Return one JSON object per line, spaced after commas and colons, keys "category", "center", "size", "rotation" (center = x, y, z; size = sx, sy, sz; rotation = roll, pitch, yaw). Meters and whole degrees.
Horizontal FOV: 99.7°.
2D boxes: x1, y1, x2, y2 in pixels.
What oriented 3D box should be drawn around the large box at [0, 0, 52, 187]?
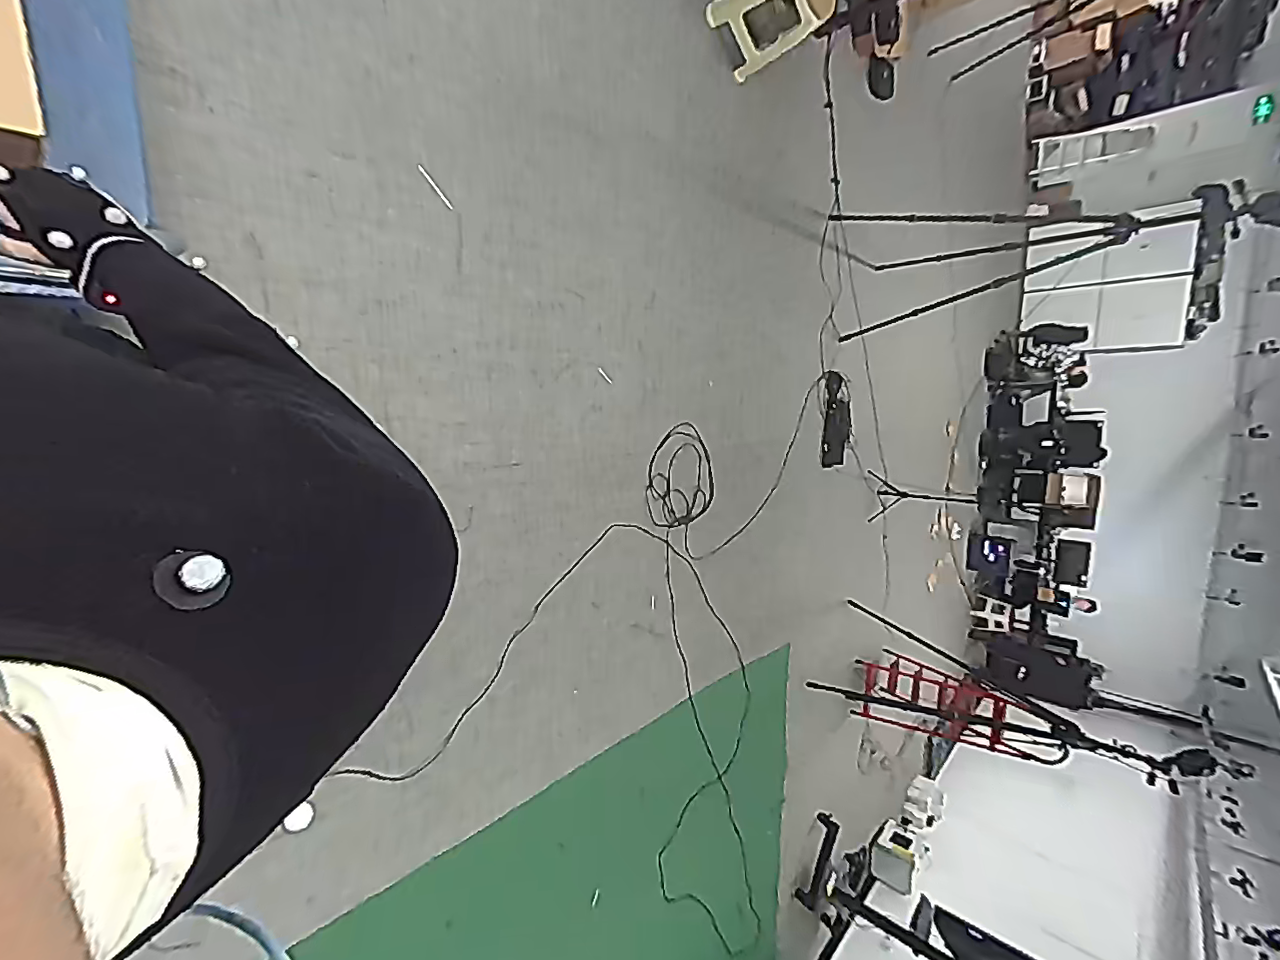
{"category": "large box", "center": [-1.083, -0.684, 0.742], "size": [0.320, 0.320, 0.408], "rotation": [-12, 104, -45]}
